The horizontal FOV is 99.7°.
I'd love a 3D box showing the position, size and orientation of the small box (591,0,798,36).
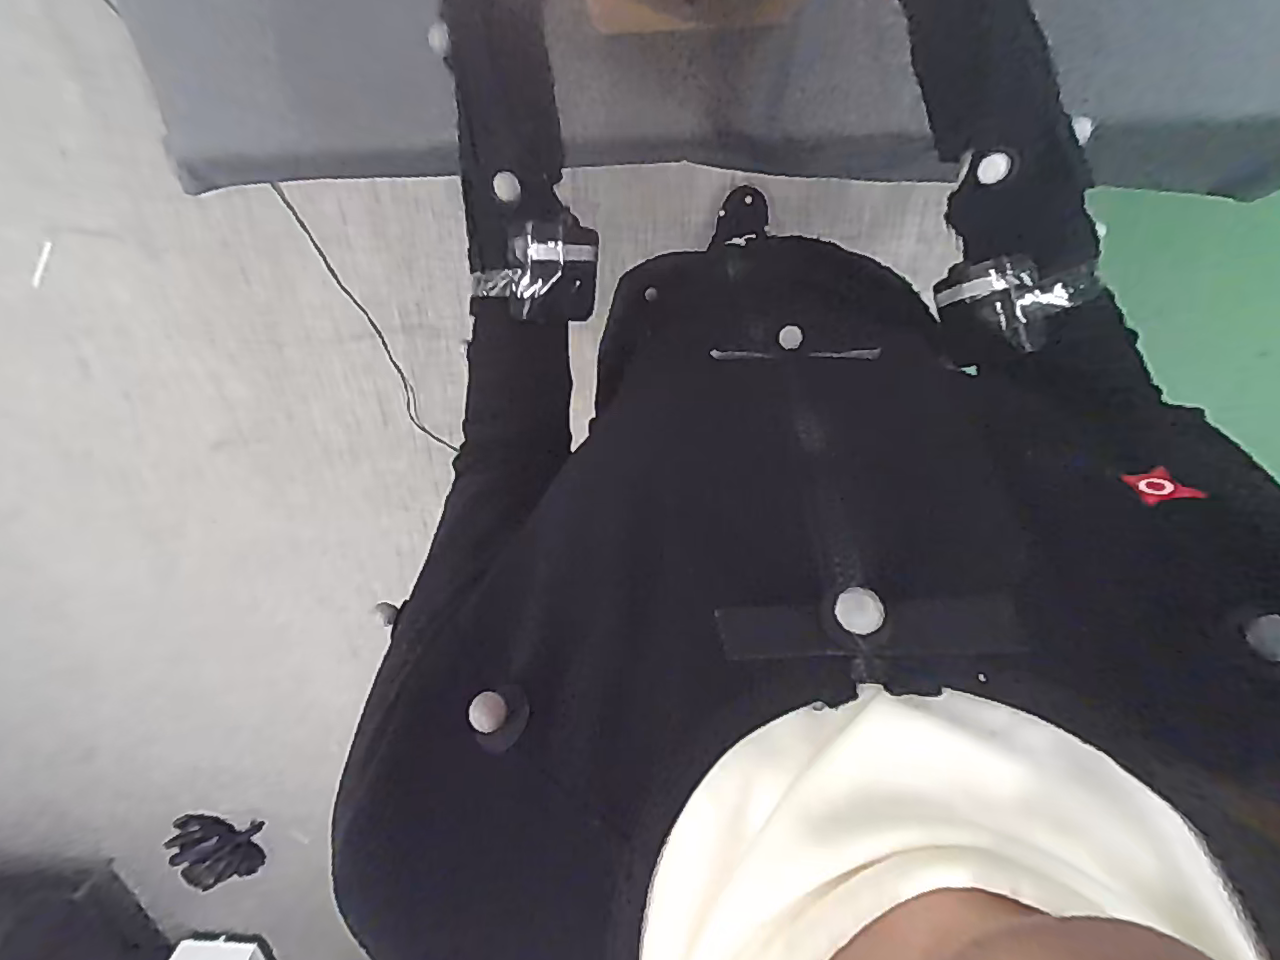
[{"bbox_3d":[0.045,-0.451,0.394,0.179,0.176,0.168,0,117,4],"label":"small box"}]
